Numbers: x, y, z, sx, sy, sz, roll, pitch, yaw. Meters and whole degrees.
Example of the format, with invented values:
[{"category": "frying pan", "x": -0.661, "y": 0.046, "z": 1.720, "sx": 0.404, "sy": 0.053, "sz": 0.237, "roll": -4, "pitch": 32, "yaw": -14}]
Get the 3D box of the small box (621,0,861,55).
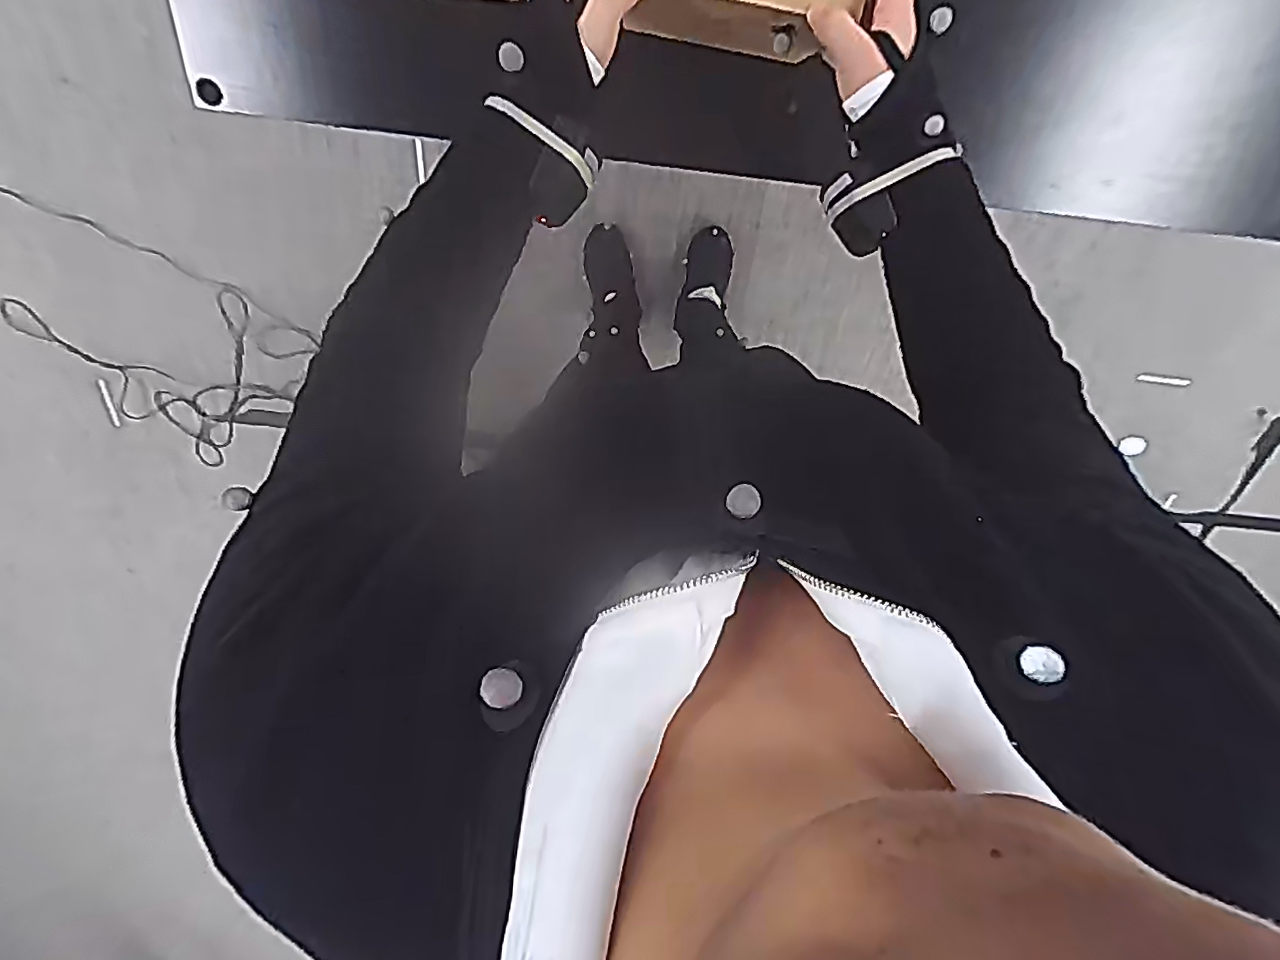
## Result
[{"category": "small box", "x": 0.082, "y": -0.453, "z": 0.417, "sx": 0.179, "sy": 0.176, "sz": 0.168, "roll": 7, "pitch": 120, "yaw": -5}]
